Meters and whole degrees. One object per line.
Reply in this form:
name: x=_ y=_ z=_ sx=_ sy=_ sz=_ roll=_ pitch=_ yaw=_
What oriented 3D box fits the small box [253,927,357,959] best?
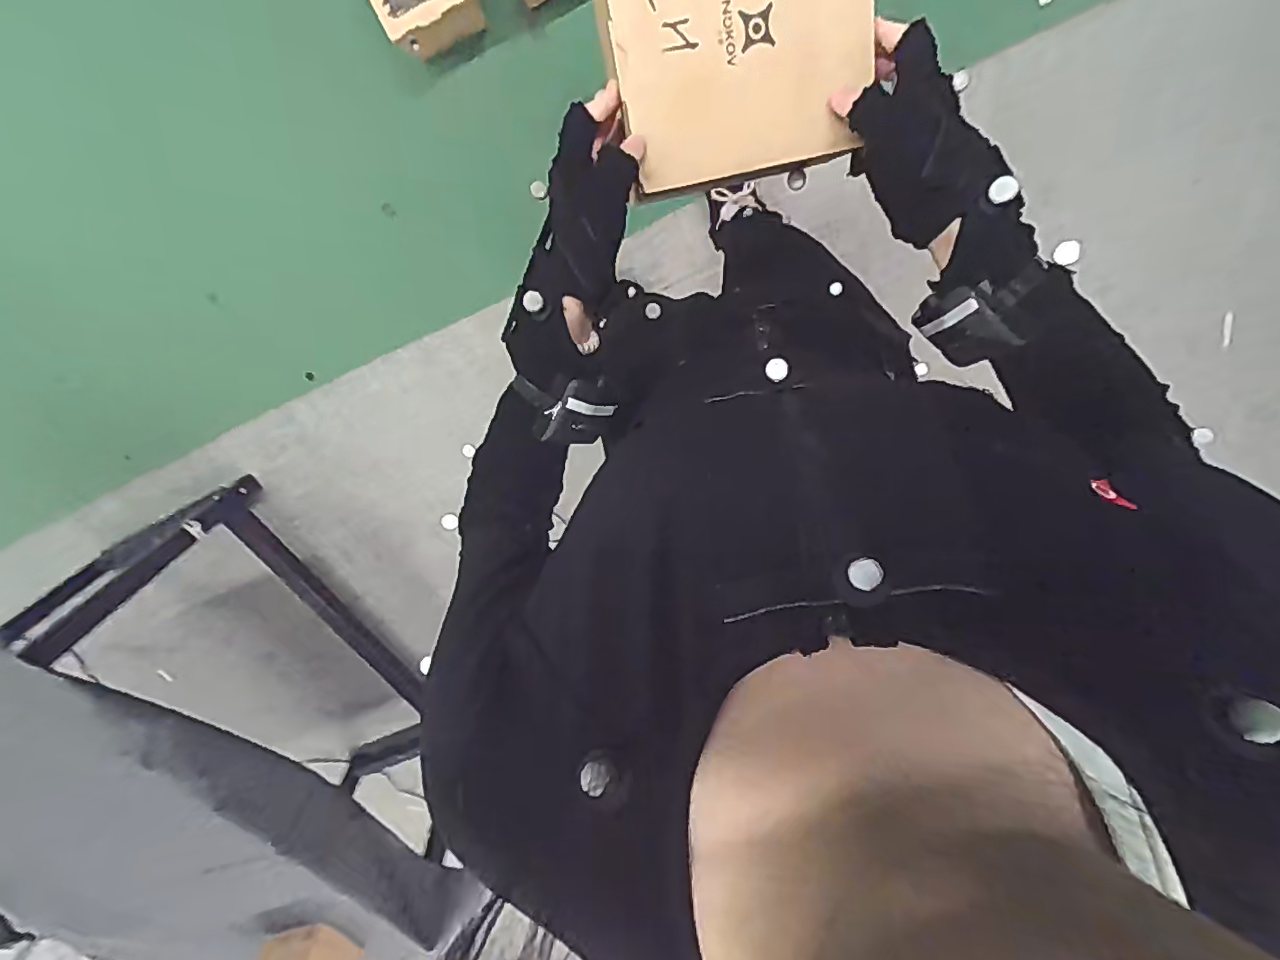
small box: x=-0.820 y=1.200 z=1.283 sx=0.168 sy=0.176 sz=0.179 roll=-20 pitch=118 yaw=8

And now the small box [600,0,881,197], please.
small box: x=0.067 y=-0.334 z=0.428 sx=0.179 sy=0.176 sz=0.168 roll=-11 pitch=115 yaw=3
